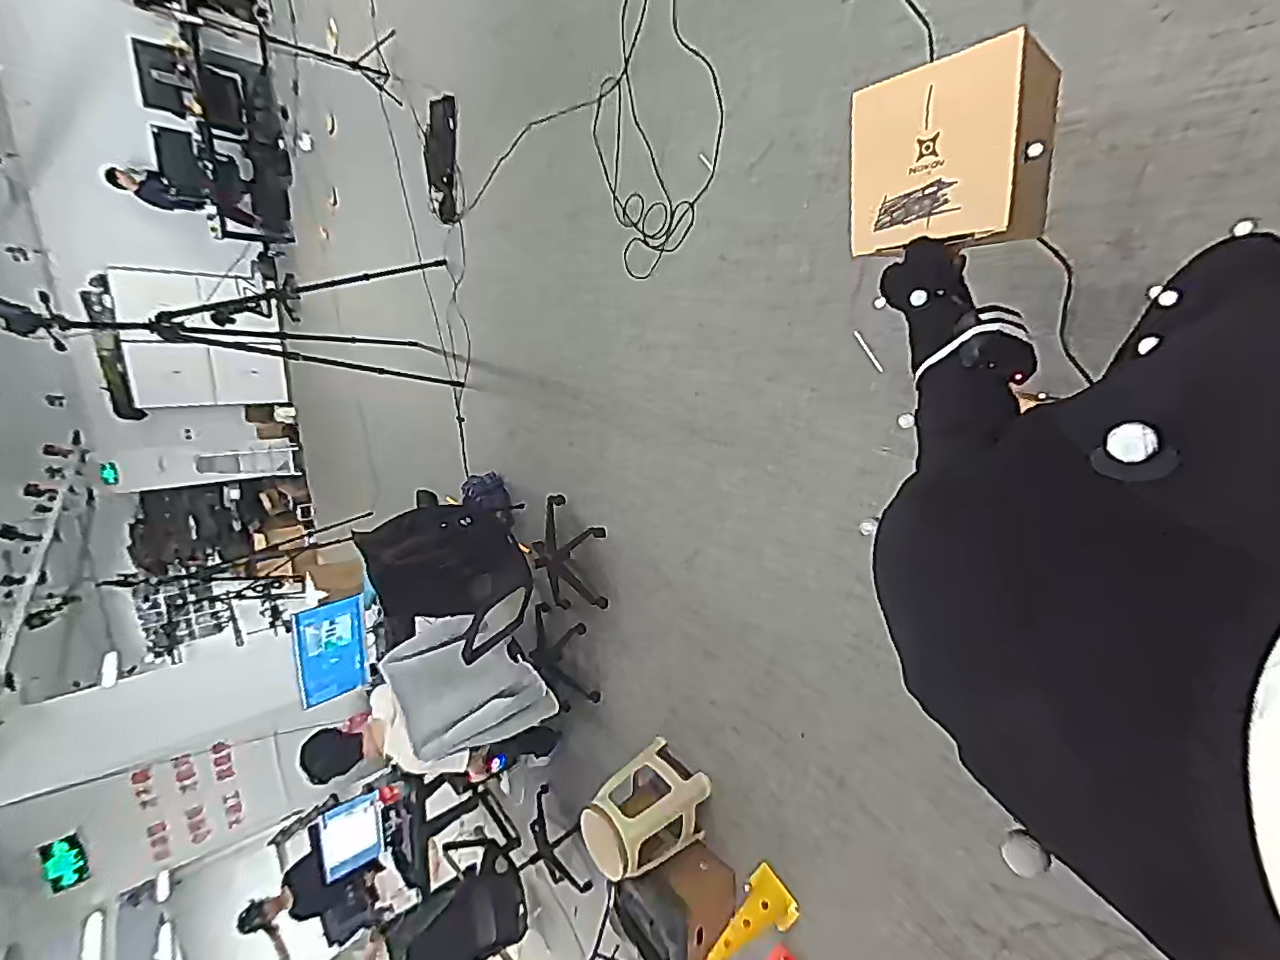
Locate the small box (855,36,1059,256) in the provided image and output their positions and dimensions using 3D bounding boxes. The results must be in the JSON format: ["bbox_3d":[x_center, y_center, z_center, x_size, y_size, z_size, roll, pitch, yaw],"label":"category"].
[{"bbox_3d":[0.373,-0.369,0.639,0.168,0.176,0.179,11,112,45],"label":"small box"}]
